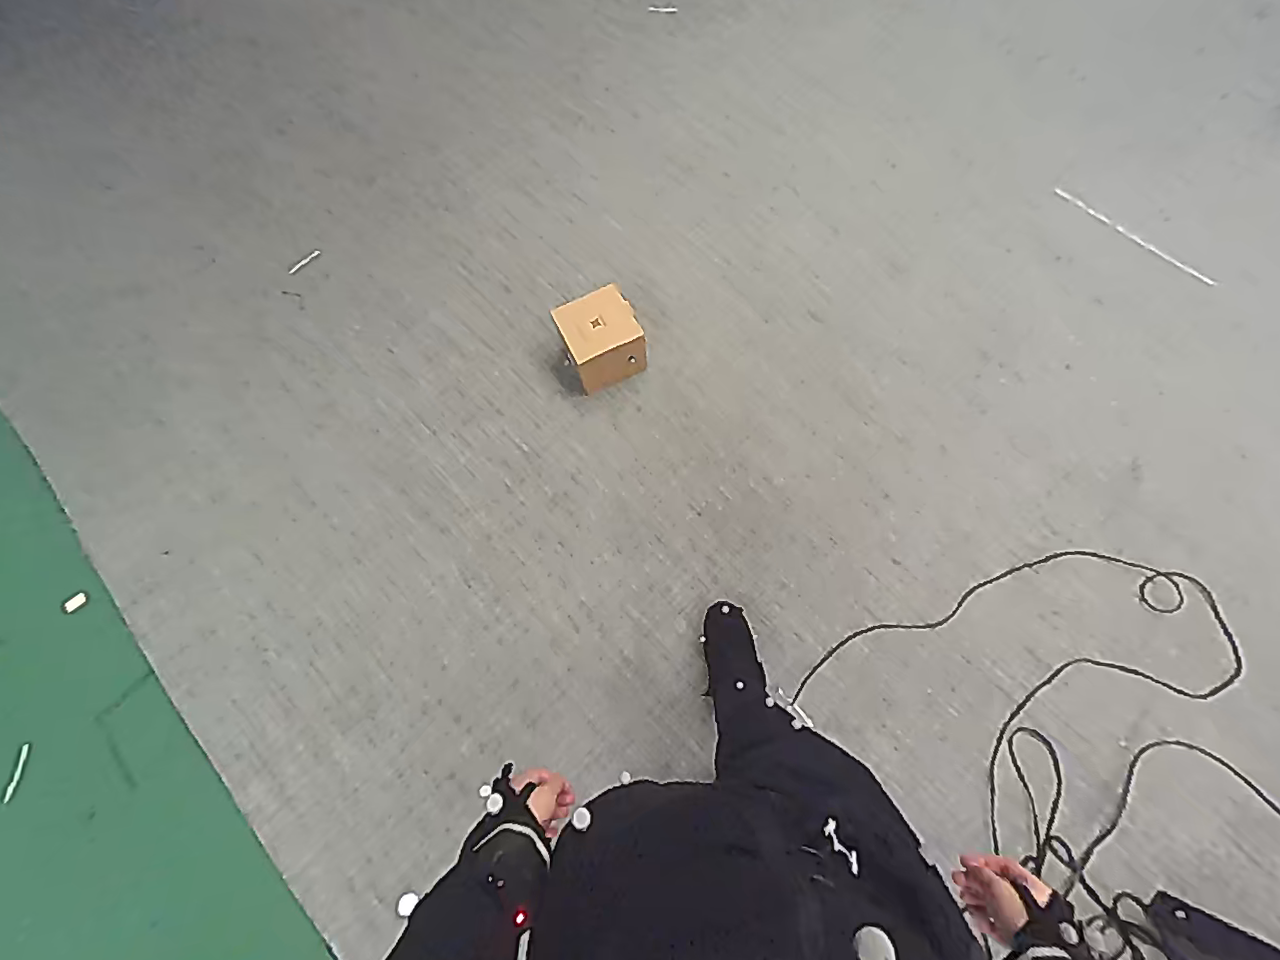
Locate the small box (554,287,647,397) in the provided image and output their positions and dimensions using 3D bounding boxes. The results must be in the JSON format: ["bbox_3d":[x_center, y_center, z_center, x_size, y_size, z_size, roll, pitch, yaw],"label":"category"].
[{"bbox_3d":[-0.092,-0.339,1.354,0.179,0.176,0.168,-27,73,-4],"label":"small box"}]
